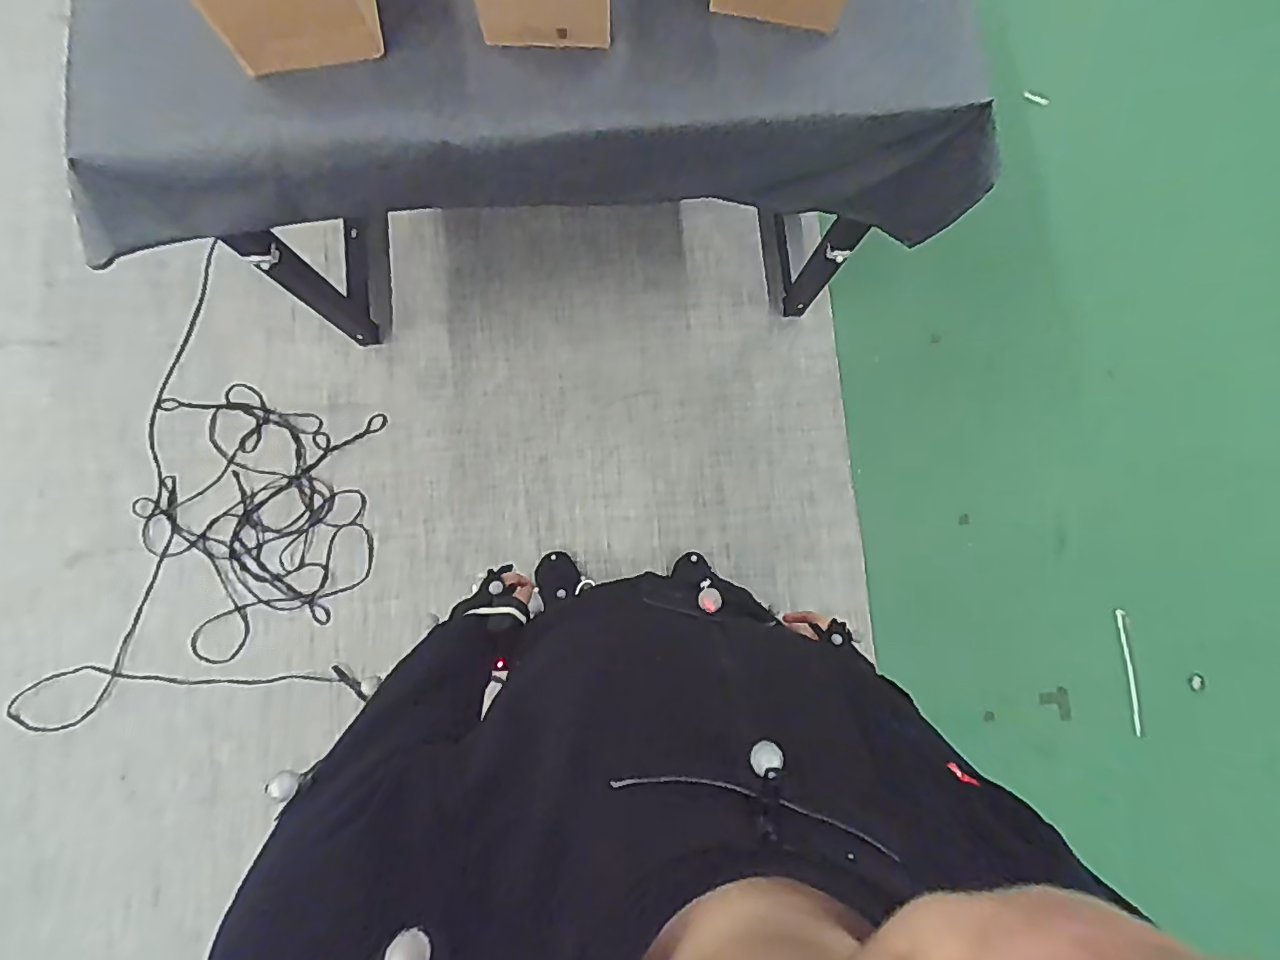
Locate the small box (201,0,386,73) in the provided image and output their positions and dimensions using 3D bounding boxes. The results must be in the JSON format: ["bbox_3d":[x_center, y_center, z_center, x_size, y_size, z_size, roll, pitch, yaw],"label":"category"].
[{"bbox_3d":[-0.430,-0.623,0.635,0.179,0.176,0.168,-12,83,-4],"label":"small box"}]
